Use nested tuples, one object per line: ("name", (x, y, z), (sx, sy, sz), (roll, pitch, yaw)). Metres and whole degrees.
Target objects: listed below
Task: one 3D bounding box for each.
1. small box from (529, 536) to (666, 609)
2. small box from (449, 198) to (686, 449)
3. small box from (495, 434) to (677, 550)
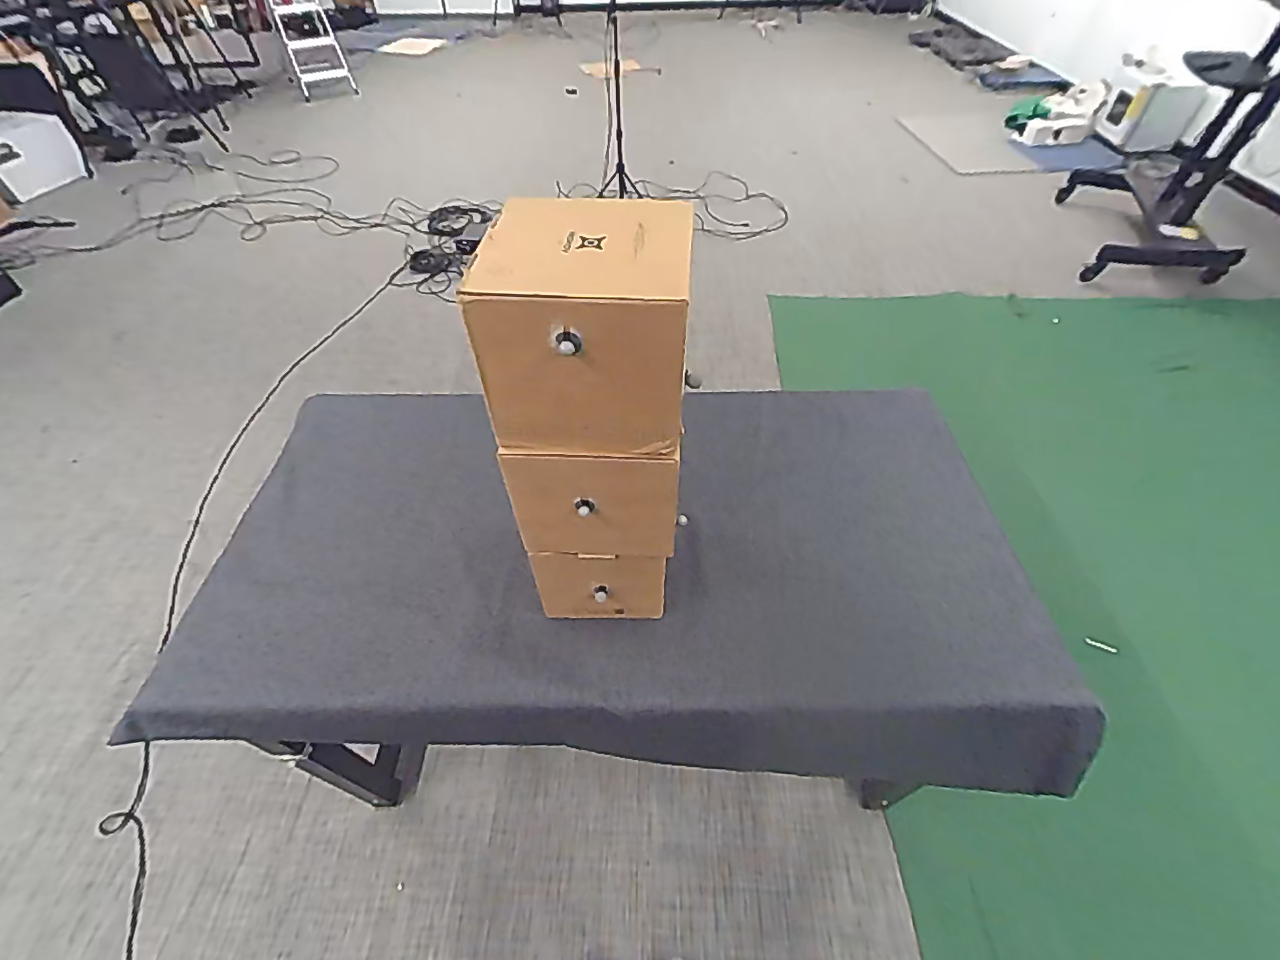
("small box", (-0.048, 0.069, 0.755), (0.168, 0.176, 0.179), (-1, 50, 1))
("small box", (-0.048, -0.143, 0.507), (0.179, 0.176, 0.168), (3, 50, 3))
("small box", (-0.046, -0.032, 0.624), (0.179, 0.176, 0.168), (0, 49, 4))
